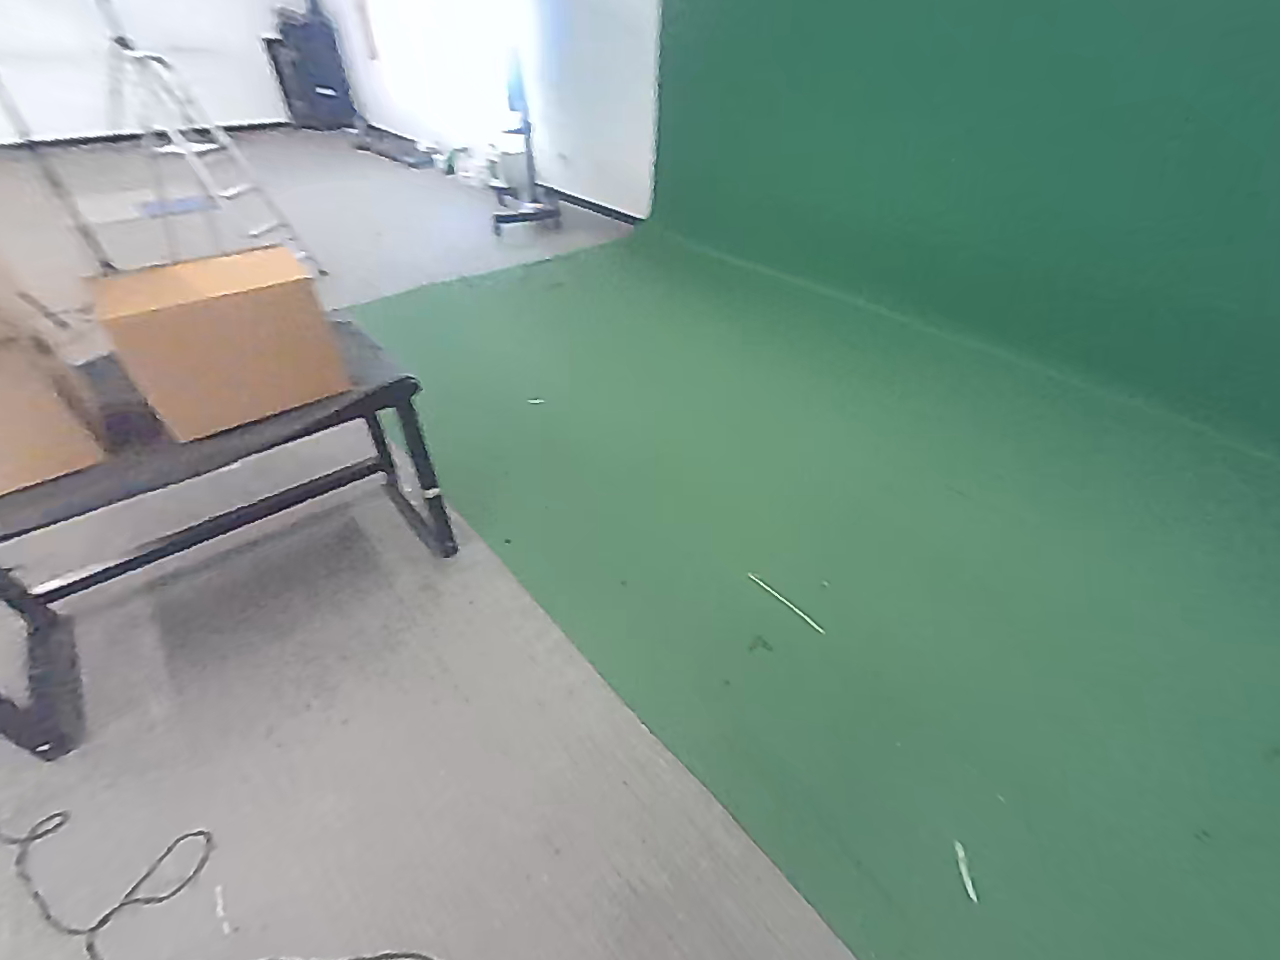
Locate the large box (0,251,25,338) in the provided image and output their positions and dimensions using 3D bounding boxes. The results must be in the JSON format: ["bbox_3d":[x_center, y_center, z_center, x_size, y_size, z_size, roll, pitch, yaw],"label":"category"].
[{"bbox_3d":[-1.410,-0.391,0.913,0.408,0.320,0.320,-27,50,-31],"label":"large box"}]
